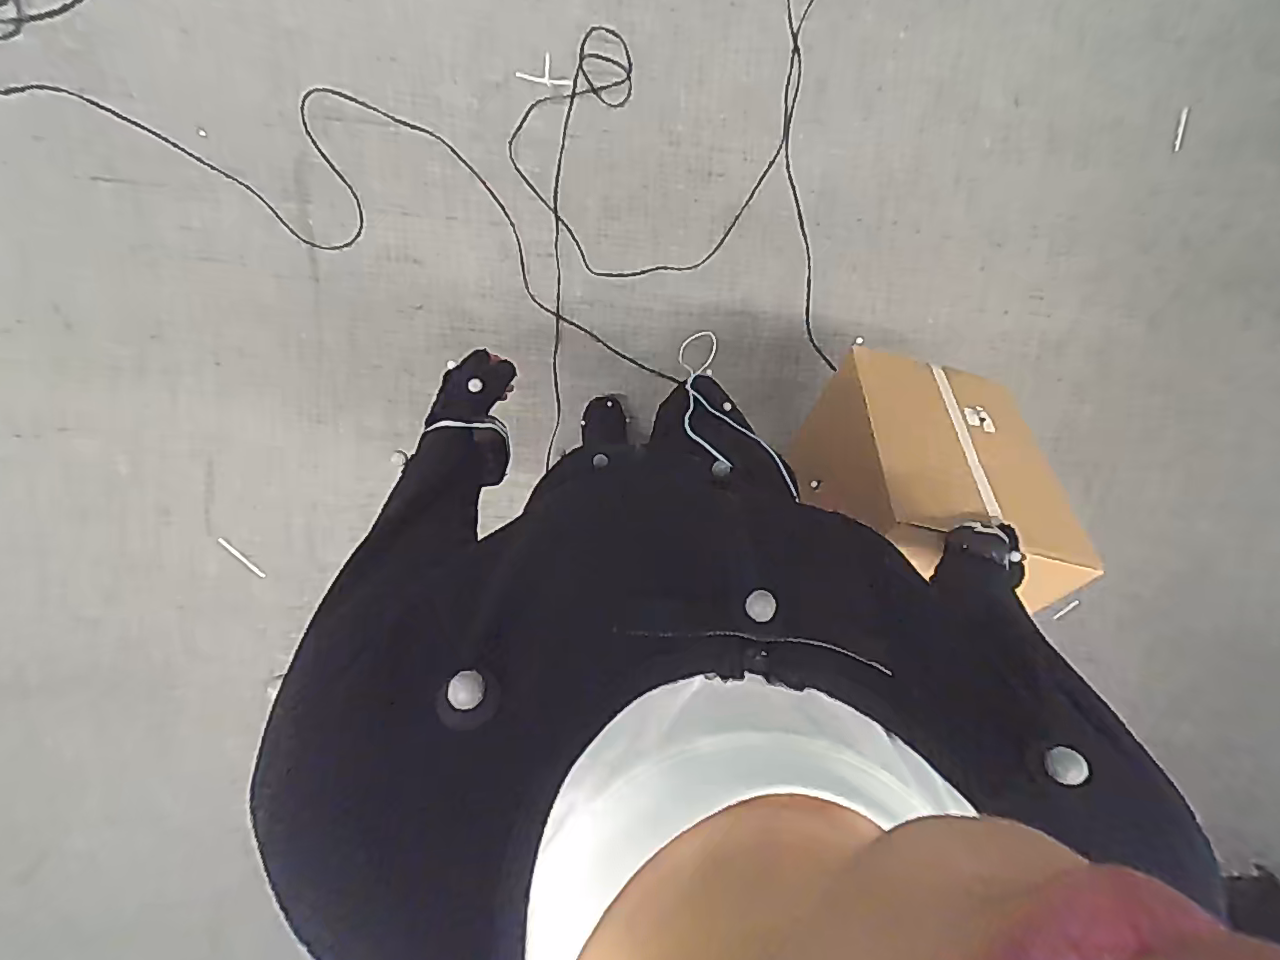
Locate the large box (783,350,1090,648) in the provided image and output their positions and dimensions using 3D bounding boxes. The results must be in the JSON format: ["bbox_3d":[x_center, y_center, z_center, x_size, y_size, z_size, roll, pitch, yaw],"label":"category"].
[{"bbox_3d":[0.471,0.037,0.978,0.320,0.408,0.320,13,139,-5],"label":"large box"}]
